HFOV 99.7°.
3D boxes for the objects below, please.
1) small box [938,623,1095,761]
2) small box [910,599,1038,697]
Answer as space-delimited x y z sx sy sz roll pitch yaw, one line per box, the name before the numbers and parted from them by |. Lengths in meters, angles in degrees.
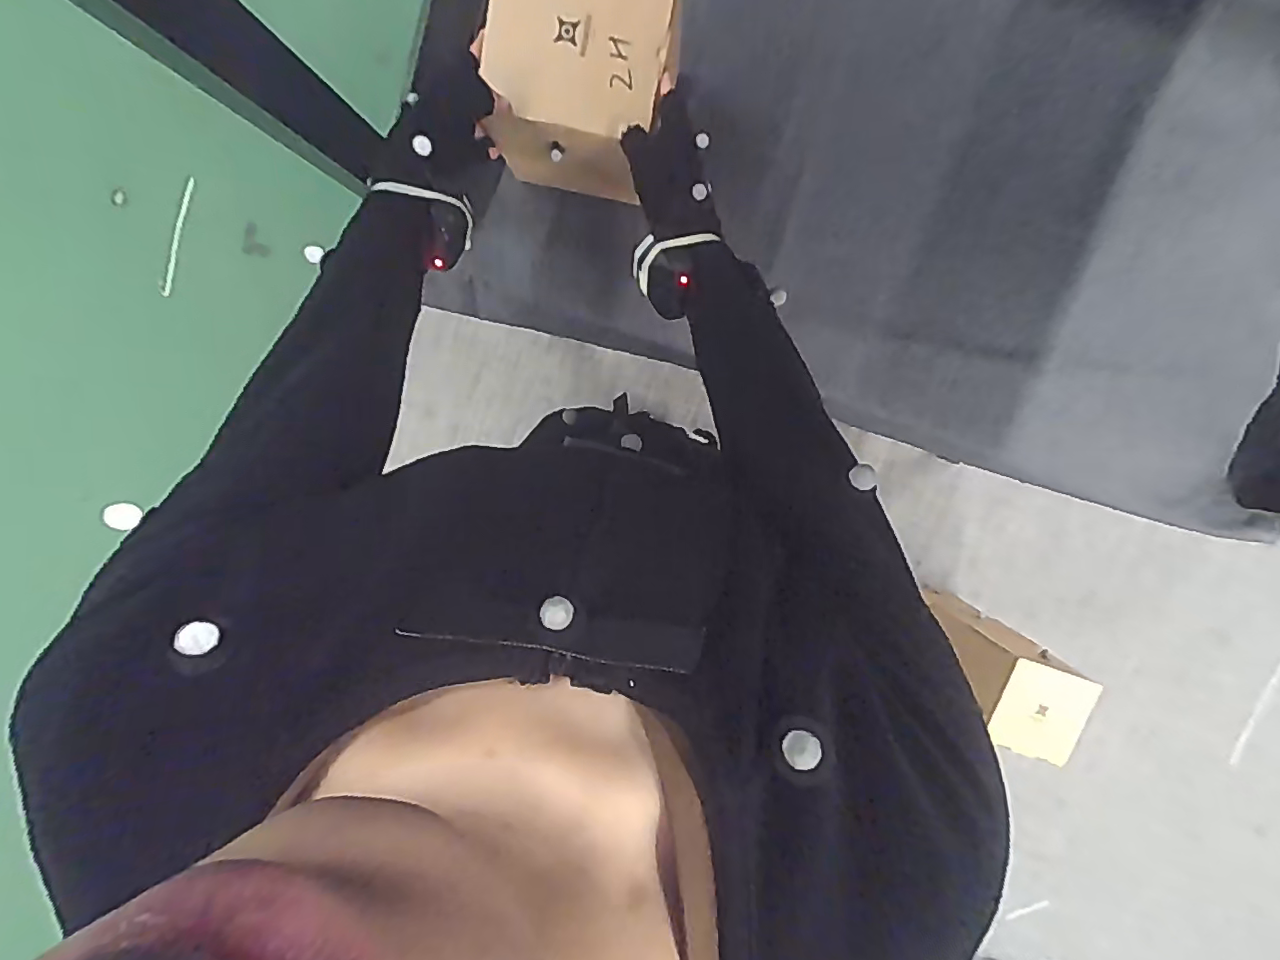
small box | 0.736 0.412 1.082 0.168 0.176 0.179 18 98 0
small box | 0.754 0.399 1.244 0.168 0.176 0.179 16 97 0
